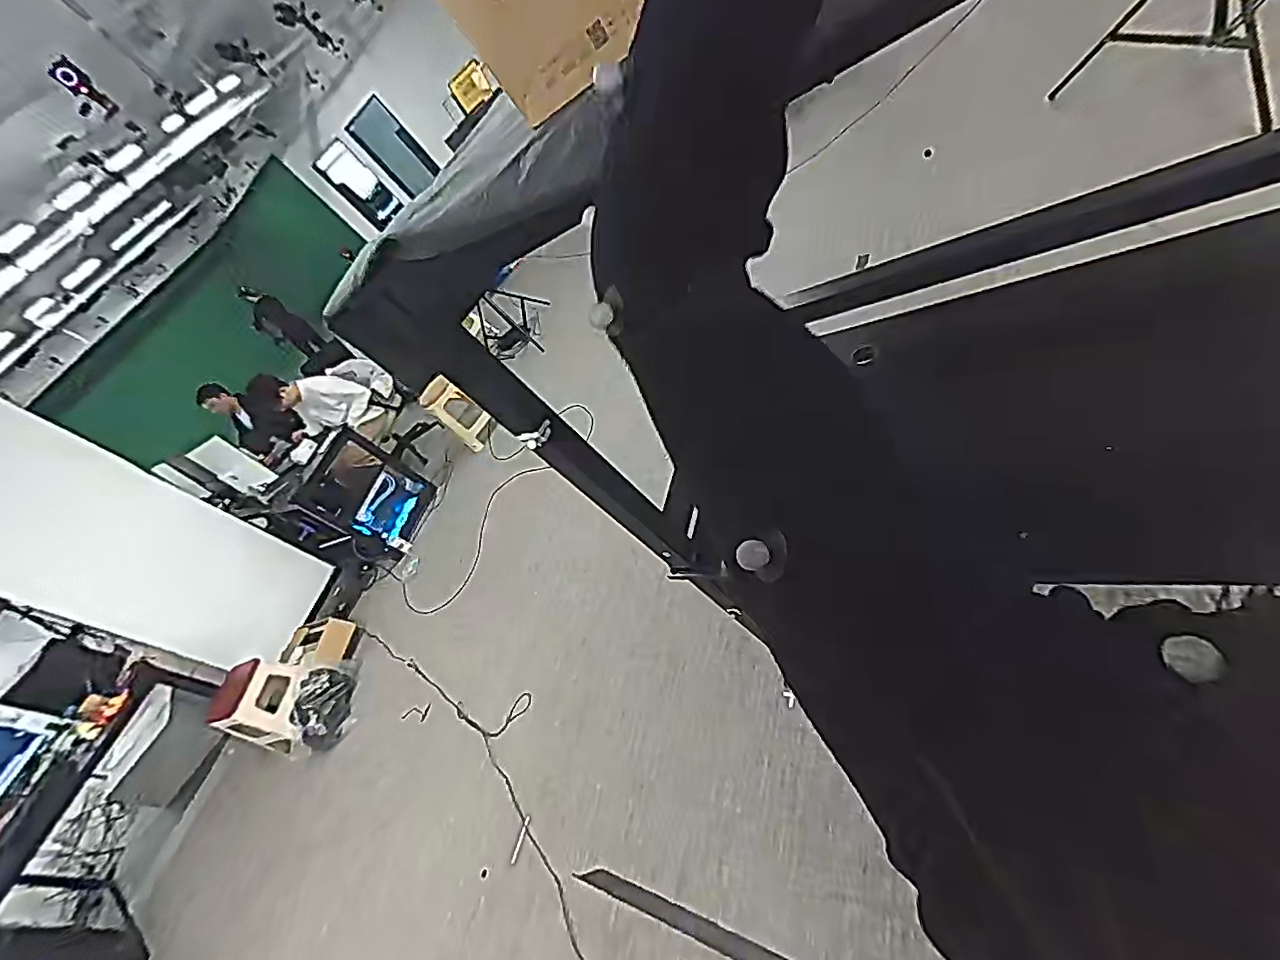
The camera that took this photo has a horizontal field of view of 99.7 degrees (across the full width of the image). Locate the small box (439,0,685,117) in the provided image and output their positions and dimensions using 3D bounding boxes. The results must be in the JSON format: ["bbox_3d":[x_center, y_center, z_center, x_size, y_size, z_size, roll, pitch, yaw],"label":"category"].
[{"bbox_3d":[-0.055,-0.432,0.426,0.168,0.176,0.179,-6,51,40],"label":"small box"}]
